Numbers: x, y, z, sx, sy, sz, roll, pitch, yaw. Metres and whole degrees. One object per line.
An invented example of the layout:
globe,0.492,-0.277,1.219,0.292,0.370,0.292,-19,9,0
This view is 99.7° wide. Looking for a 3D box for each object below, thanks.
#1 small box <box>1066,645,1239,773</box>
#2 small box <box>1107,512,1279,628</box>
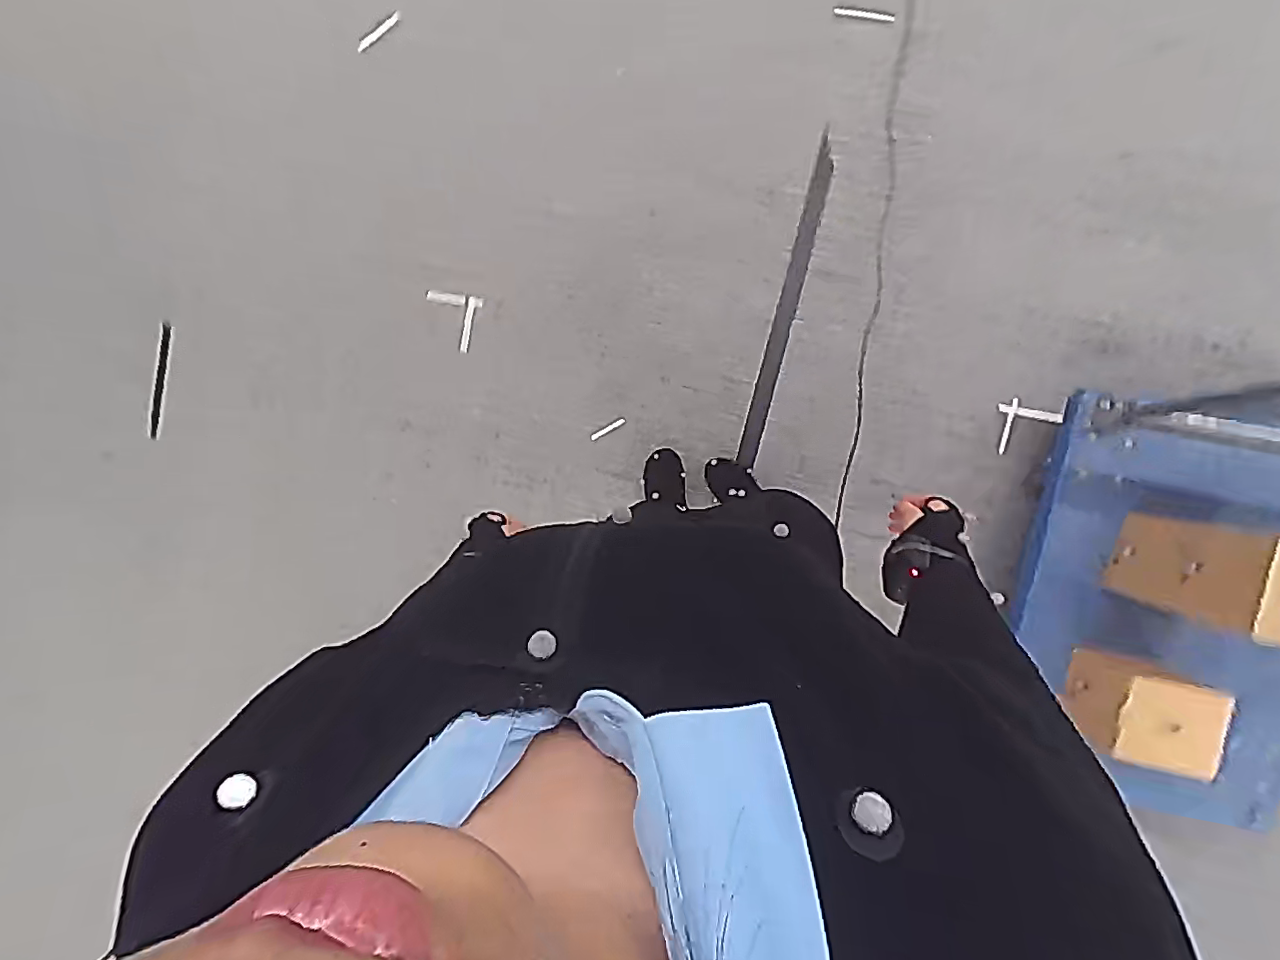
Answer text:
small box,1.022,0.451,1.095,0.179,0.176,0.168,9,94,8
small box,1.094,0.167,1.068,0.179,0.176,0.168,16,94,8
